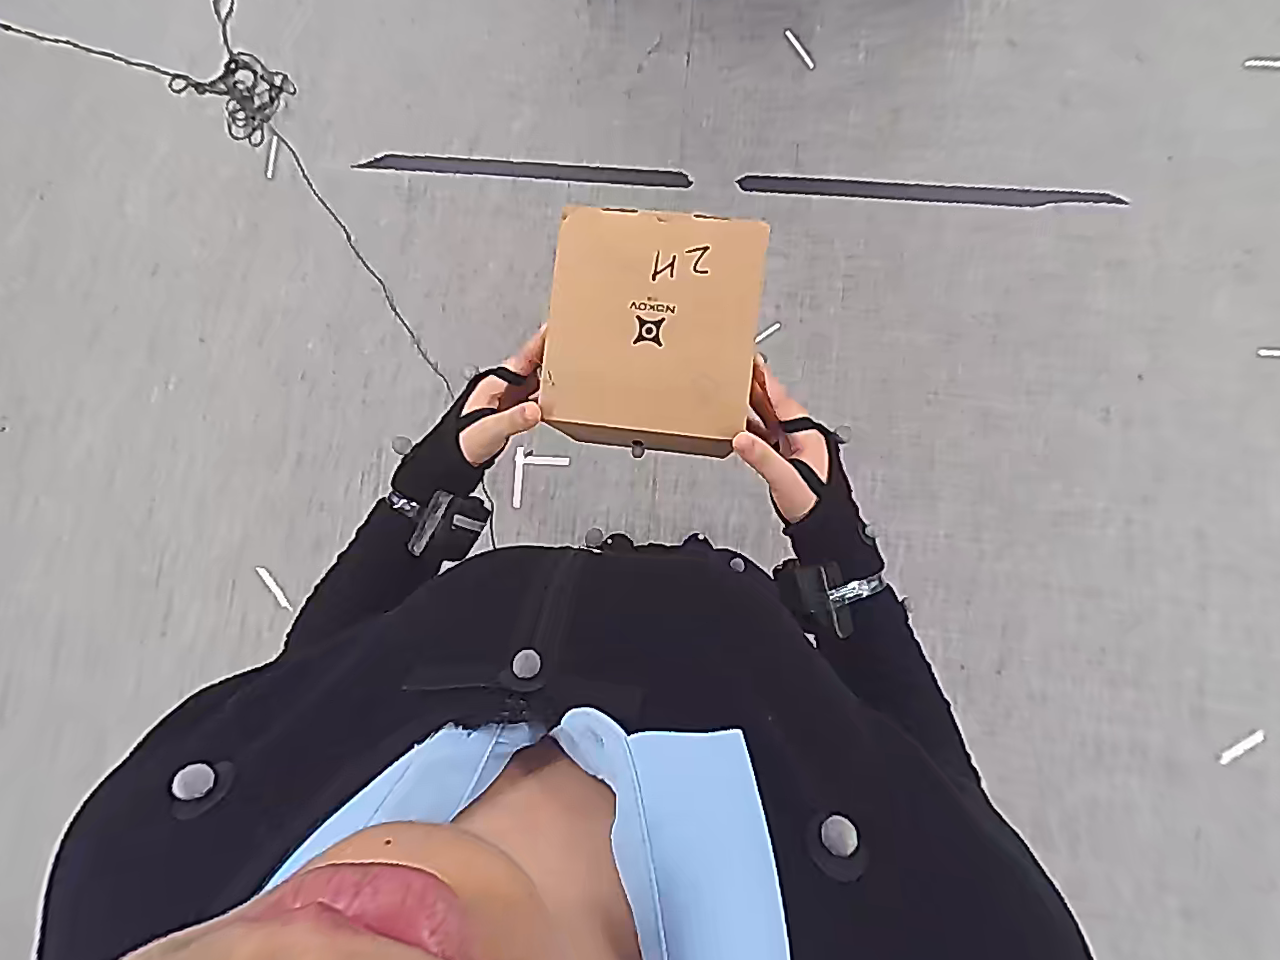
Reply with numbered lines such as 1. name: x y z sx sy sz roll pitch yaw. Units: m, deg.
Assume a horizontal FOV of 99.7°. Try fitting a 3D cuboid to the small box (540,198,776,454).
1. small box: 0.019 -0.123 0.496 0.168 0.176 0.179 7 88 4
